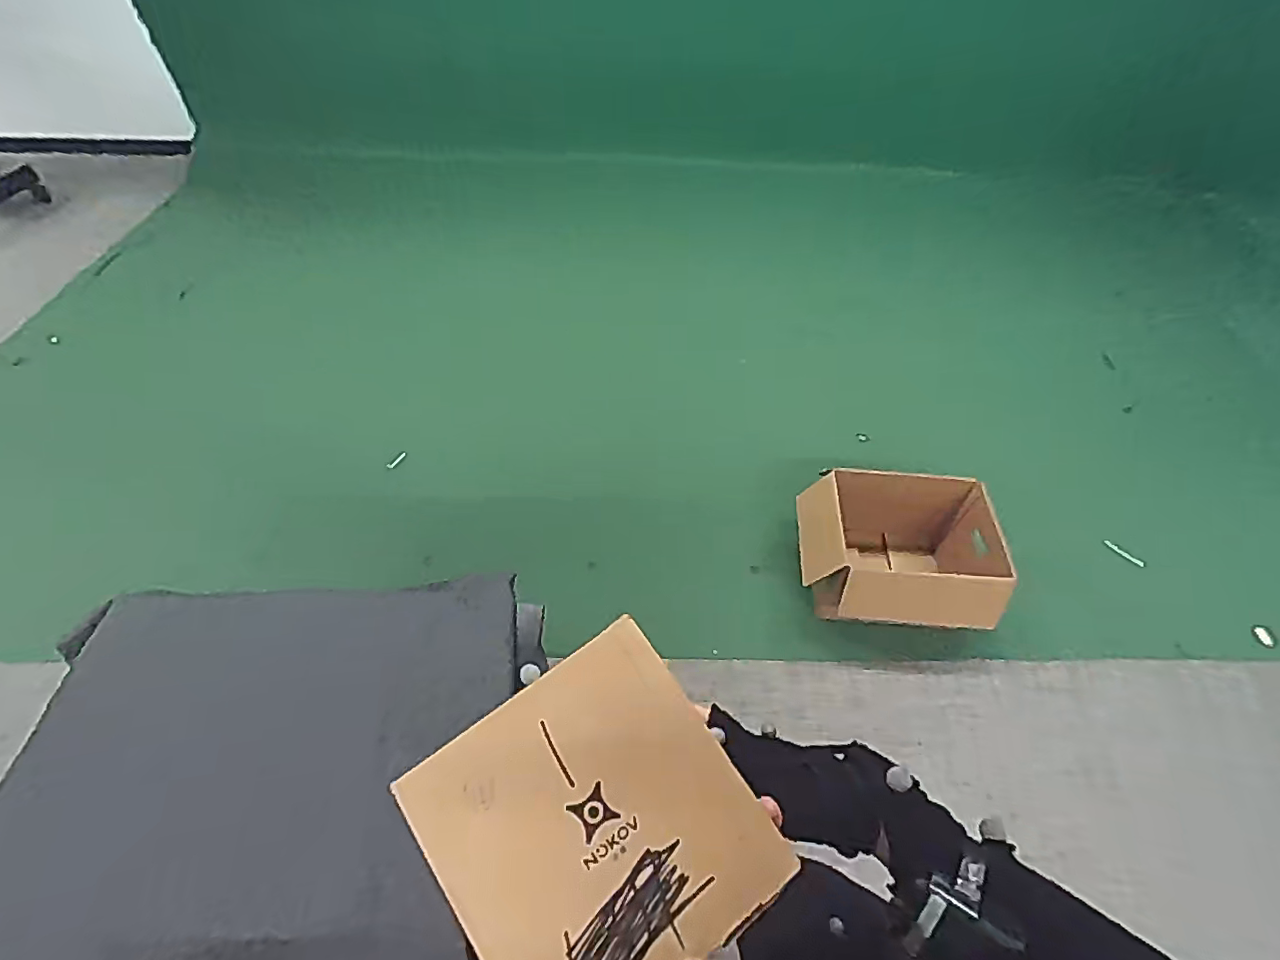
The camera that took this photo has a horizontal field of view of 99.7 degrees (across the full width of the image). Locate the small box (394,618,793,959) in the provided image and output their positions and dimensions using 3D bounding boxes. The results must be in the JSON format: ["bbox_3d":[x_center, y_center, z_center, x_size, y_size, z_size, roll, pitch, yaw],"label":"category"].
[{"bbox_3d":[-0.033,0.221,0.379,0.168,0.176,0.179,-32,76,-18],"label":"small box"}]
